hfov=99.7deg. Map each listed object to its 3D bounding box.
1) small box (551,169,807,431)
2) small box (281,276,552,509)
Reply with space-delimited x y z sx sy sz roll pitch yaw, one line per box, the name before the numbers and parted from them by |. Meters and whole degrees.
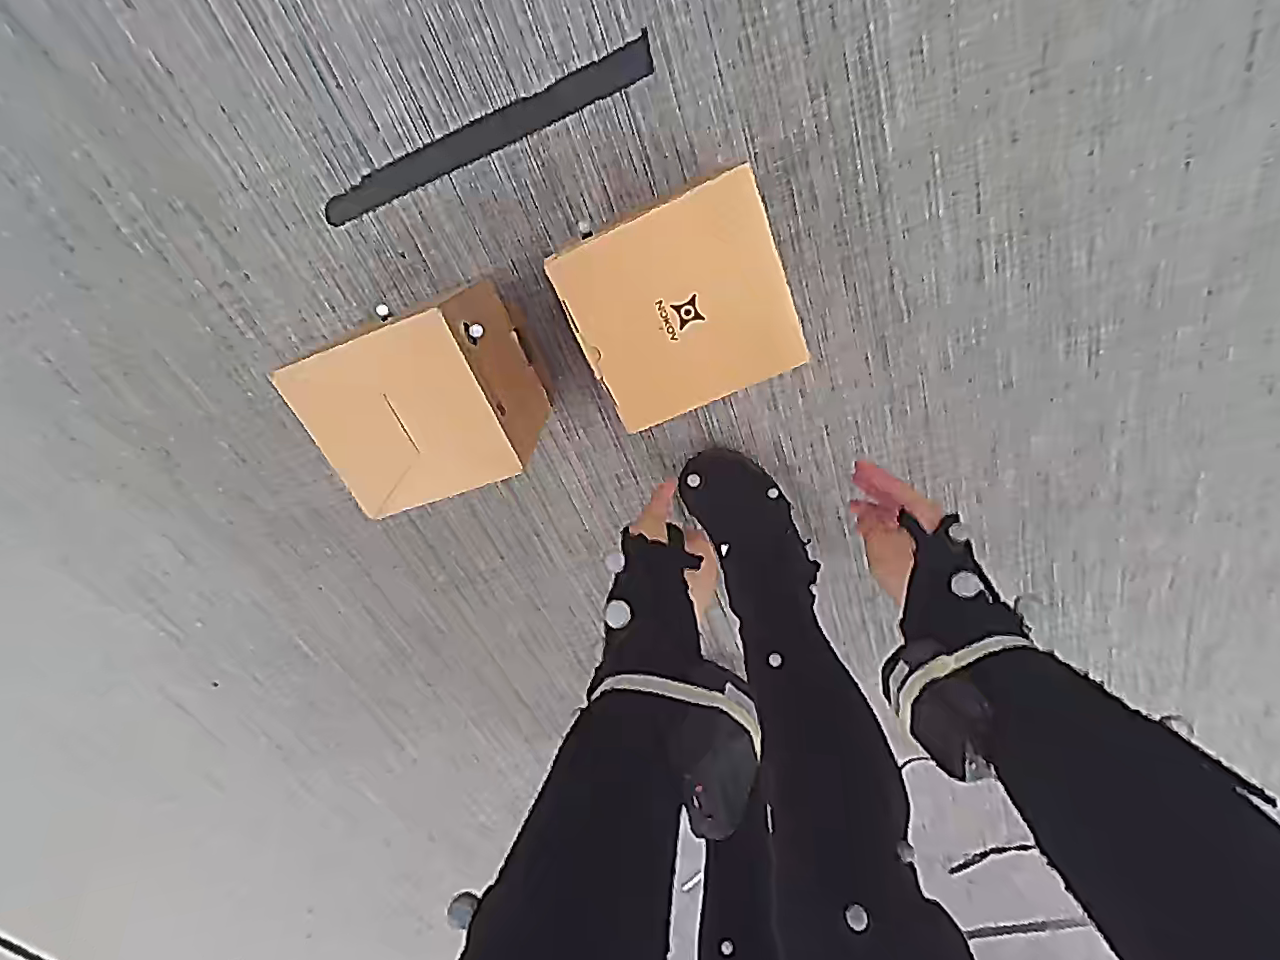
small box | 0.037 -0.179 0.522 0.179 0.176 0.168 -21 117 13
small box | -0.215 -0.092 0.568 0.179 0.176 0.168 -17 117 10
